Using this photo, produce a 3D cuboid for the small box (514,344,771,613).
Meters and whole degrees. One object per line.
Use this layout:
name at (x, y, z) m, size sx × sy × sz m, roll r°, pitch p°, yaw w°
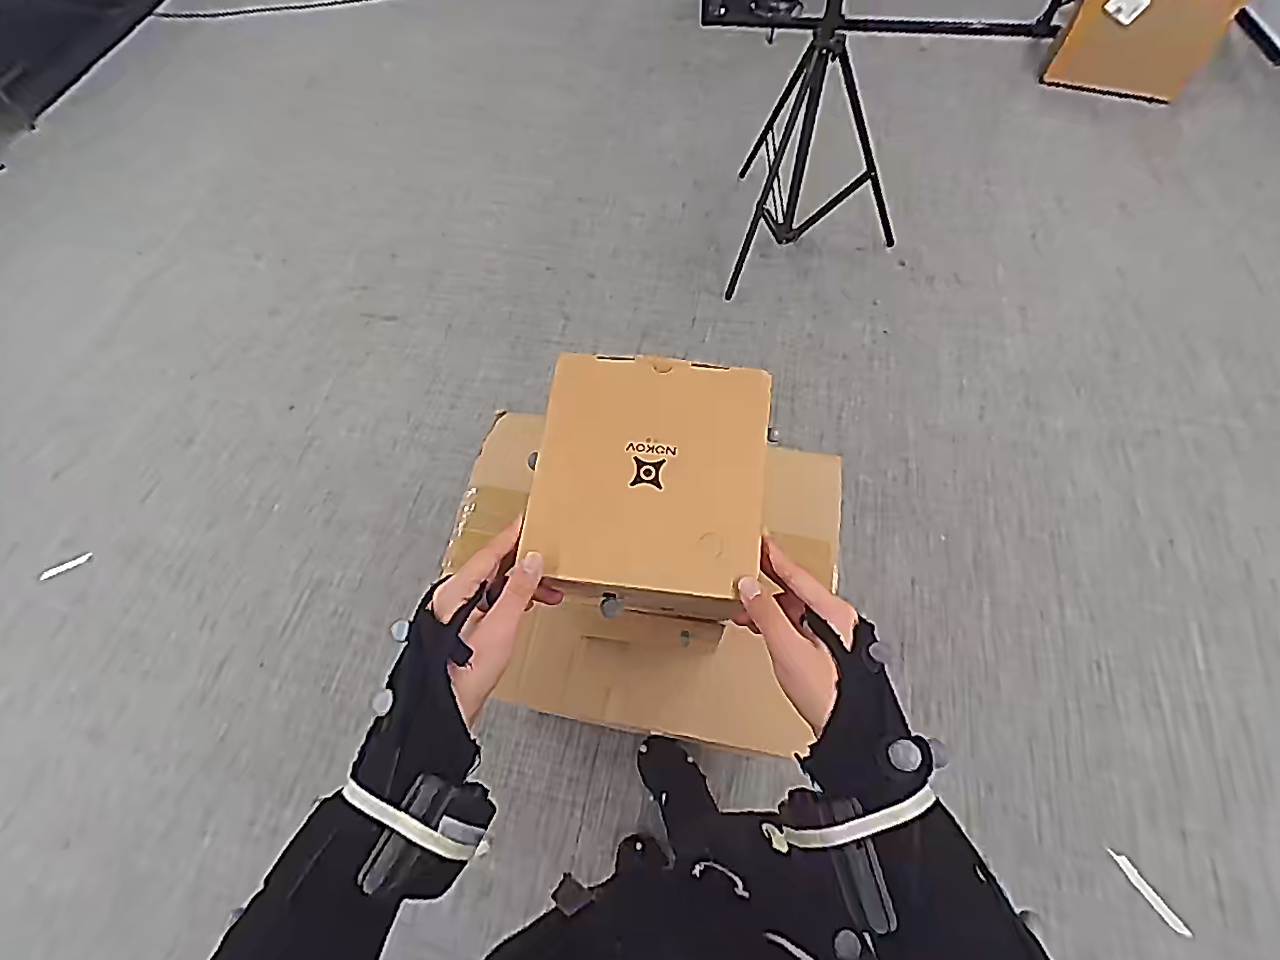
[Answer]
small box at (0.010, 0.011, 0.454) m, size 0.168 × 0.176 × 0.179 m, roll 6°, pitch 71°, yaw 5°
